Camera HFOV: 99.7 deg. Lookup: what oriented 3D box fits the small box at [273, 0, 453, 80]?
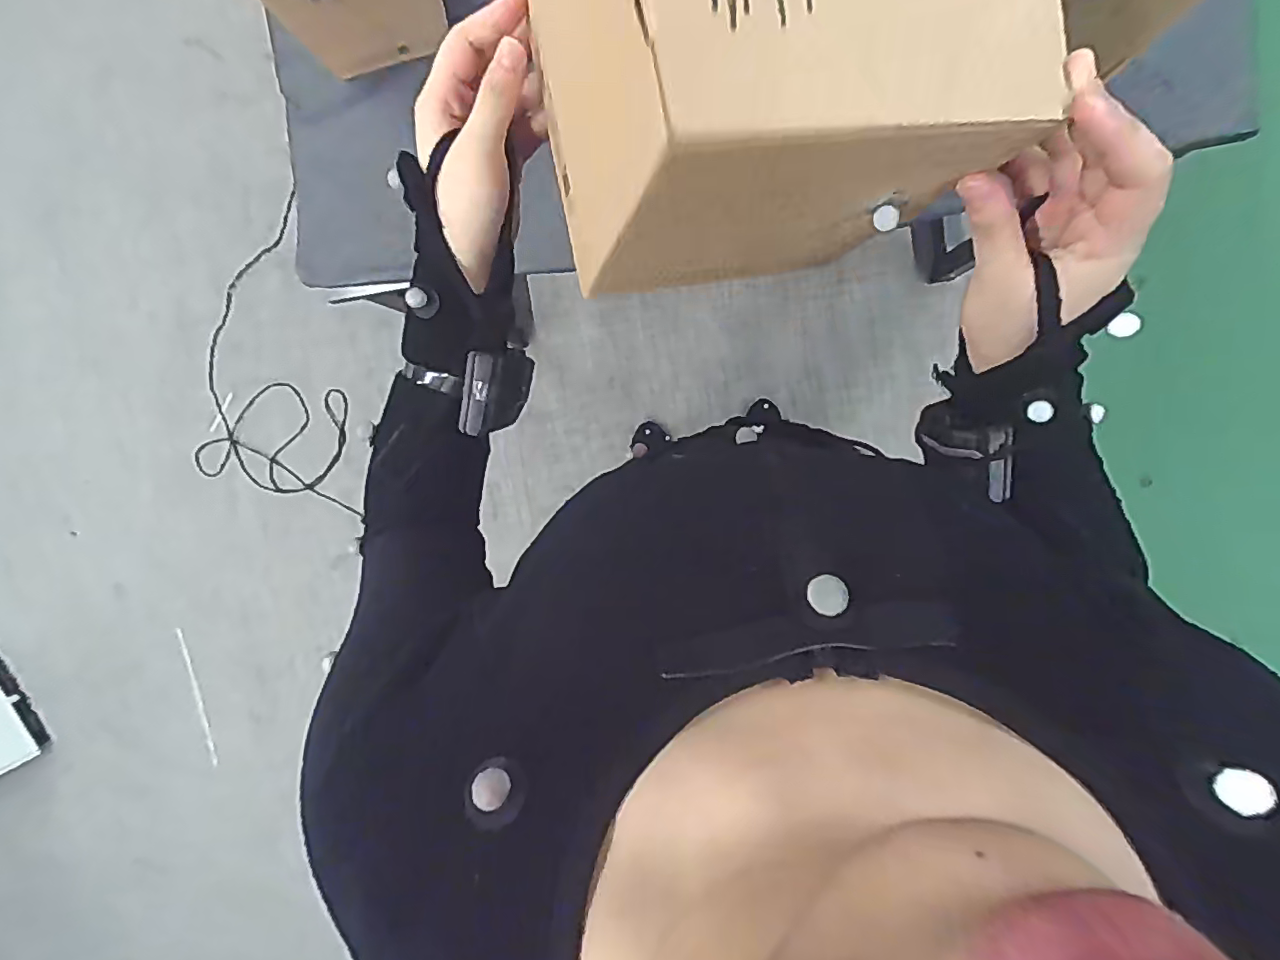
[{"bbox_3d":[-0.348,-0.633,0.644,0.168,0.176,0.179,-11,96,6],"label":"small box"}]
